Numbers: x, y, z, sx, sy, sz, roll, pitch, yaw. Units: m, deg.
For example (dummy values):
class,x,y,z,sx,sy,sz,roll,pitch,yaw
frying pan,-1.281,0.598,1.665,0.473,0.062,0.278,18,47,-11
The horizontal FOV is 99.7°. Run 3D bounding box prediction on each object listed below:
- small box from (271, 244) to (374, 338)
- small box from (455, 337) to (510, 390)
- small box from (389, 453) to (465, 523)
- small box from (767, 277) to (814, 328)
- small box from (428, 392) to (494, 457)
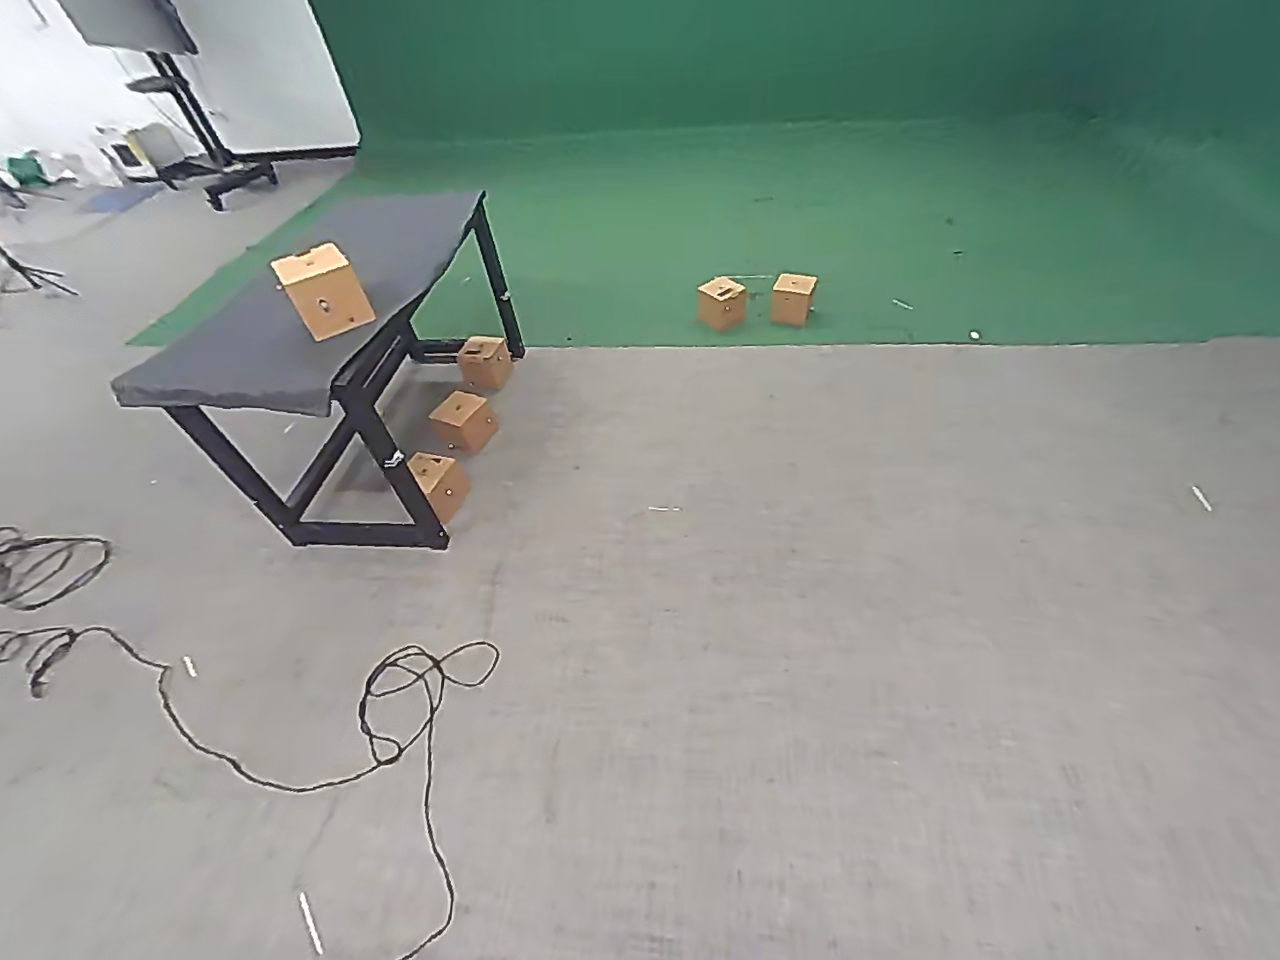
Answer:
class,x,y,z,sx,sy,sz,roll,pitch,yaw
small box,-0.852,-0.506,1.464,0.168,0.176,0.179,-31,52,-21
small box,-0.708,-0.526,2.453,0.168,0.176,0.179,6,48,10
small box,-0.758,0.032,1.951,0.168,0.176,0.179,11,51,14
small box,0.727,-0.859,2.620,0.179,0.176,0.168,17,52,19
small box,-0.711,-0.224,2.180,0.168,0.176,0.179,17,53,20
